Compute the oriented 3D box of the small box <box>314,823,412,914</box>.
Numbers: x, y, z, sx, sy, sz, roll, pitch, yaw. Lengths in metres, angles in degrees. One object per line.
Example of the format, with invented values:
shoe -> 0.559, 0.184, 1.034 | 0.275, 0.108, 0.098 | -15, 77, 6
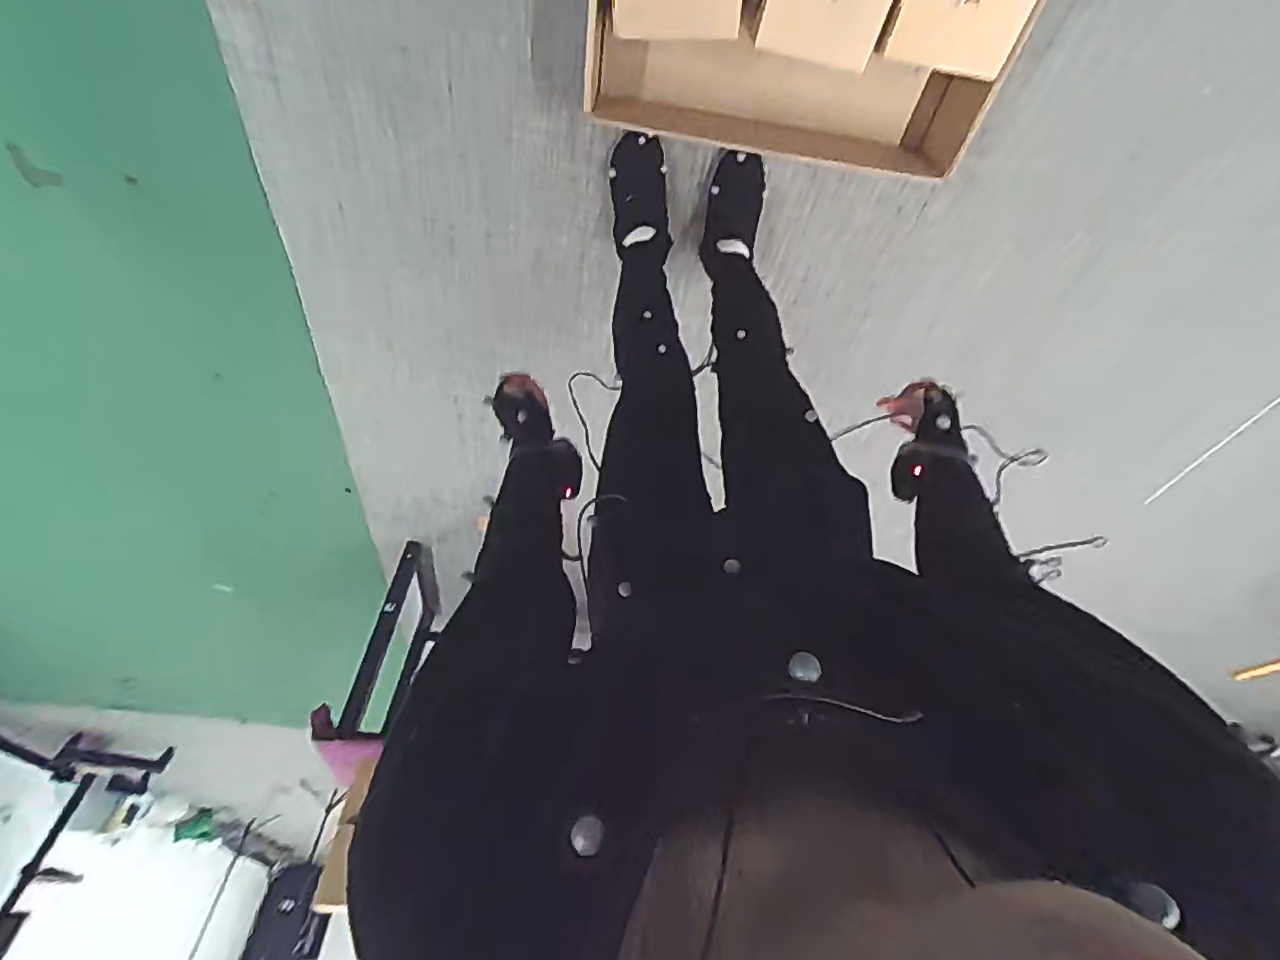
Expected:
small box -> -0.698, 0.998, 1.387 | 0.168, 0.176, 0.179 | 8, 137, -8
